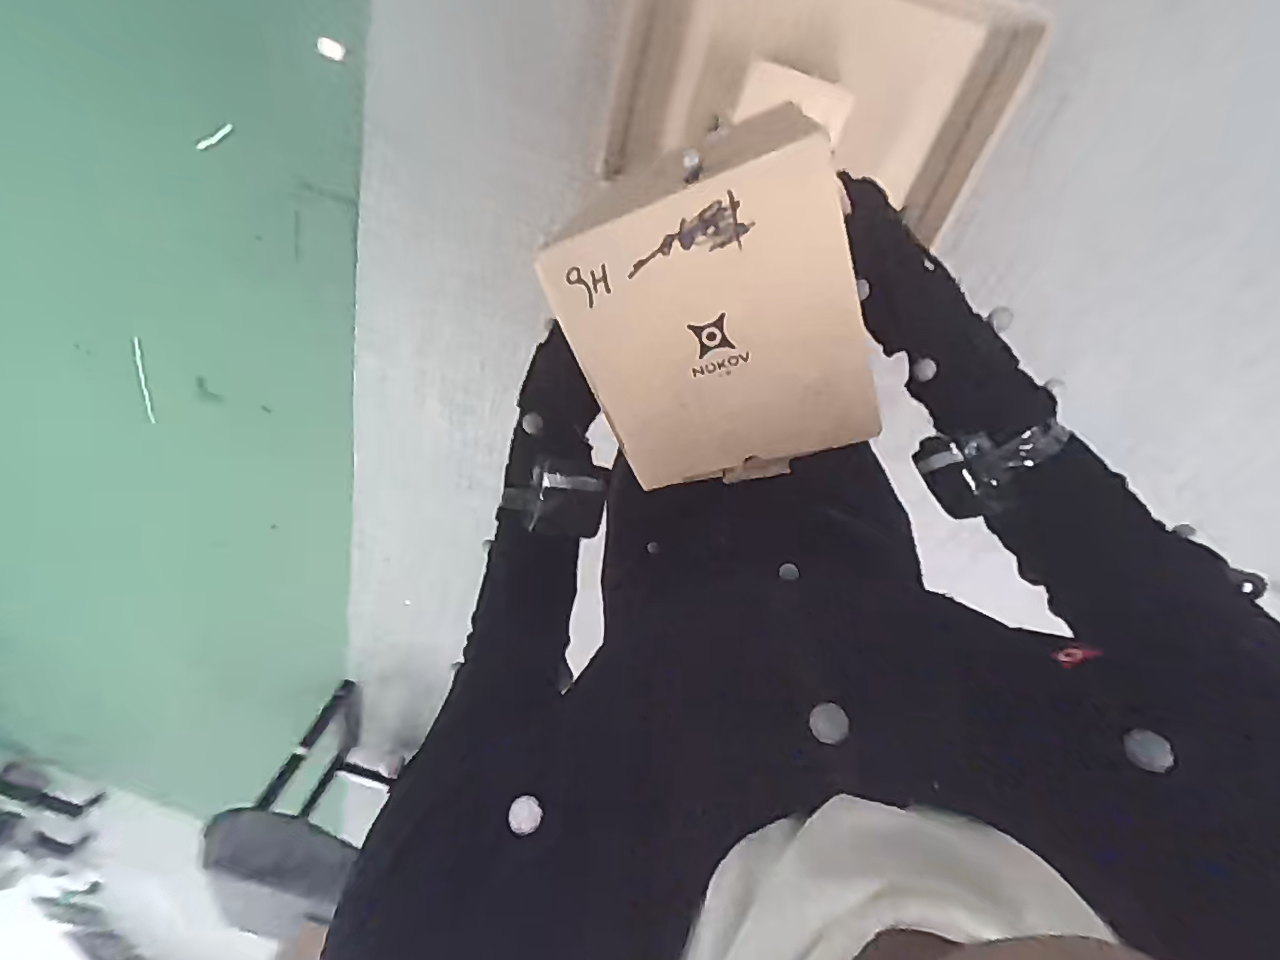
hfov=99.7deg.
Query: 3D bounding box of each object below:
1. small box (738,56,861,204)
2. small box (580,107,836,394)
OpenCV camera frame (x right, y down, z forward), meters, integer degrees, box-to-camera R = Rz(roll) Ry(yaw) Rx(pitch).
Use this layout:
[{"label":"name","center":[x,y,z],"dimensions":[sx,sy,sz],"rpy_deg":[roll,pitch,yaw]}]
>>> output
[{"label":"small box","center":[0.256,-0.607,0.945],"dimensions":[0.179,0.176,0.168],"rpy_deg":[21,124,0]},{"label":"small box","center":[0.074,-0.216,0.509],"dimensions":[0.168,0.176,0.179],"rpy_deg":[-18,121,24]}]
